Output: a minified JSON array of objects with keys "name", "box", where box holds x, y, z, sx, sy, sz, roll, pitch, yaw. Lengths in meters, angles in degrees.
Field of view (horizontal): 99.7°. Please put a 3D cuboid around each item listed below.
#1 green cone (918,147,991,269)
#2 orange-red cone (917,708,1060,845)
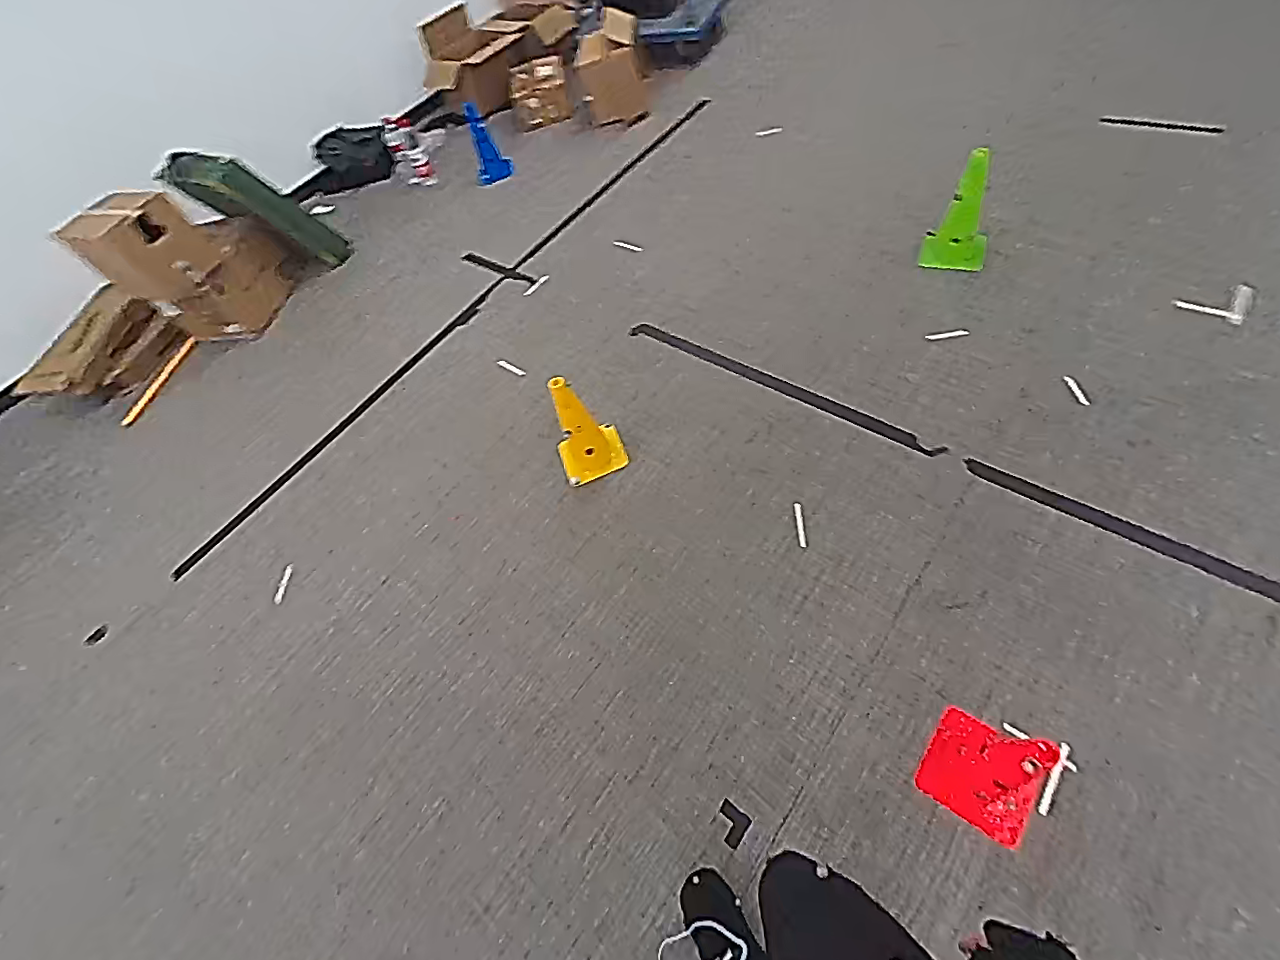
[{"name":"green cone","box":[1.098,-0.929,1.828,0.202,0.368,0.200,14,63,21]},{"name":"orange-red cone","box":[0.672,0.514,0.988,0.199,0.360,0.198,28,67,30]}]
